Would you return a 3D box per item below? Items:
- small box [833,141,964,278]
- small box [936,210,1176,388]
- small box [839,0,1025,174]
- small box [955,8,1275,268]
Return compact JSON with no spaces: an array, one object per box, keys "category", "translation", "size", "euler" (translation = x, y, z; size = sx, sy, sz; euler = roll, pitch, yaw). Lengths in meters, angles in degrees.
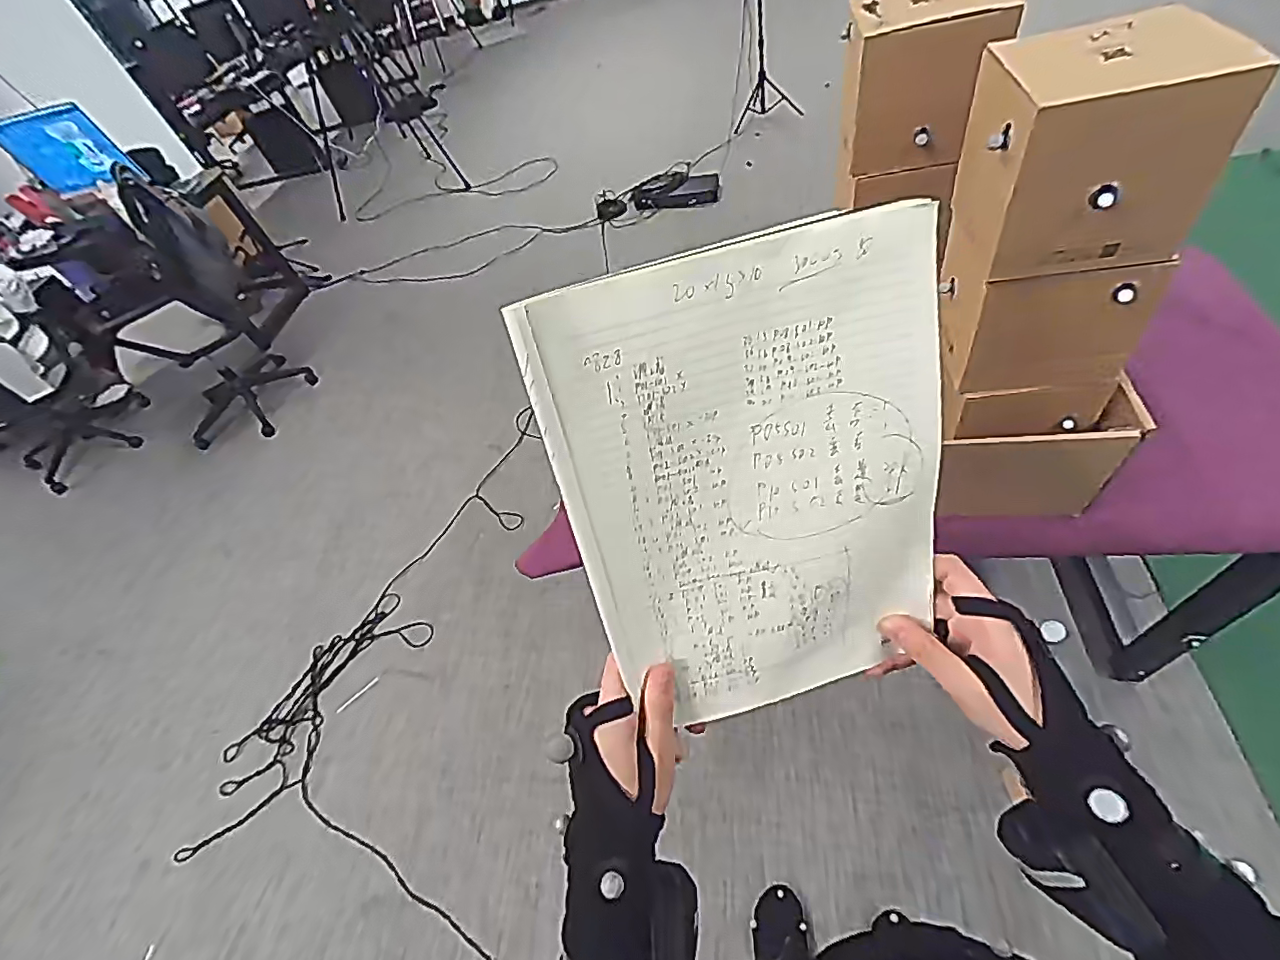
[{"category":"small box","translation":[0.416,-0.452,0.868],"size":[0.179,0.176,0.168],"euler":[-4,53,12]},{"category":"small box","translation":[0.484,-0.229,0.670],"size":[0.179,0.176,0.168],"euler":[-1,51,14]},{"category":"small box","translation":[0.380,-0.552,0.743],"size":[0.179,0.176,0.168],"euler":[-1,53,13]},{"category":"small box","translation":[0.442,-0.331,0.547],"size":[0.168,0.176,0.179],"euler":[-1,51,14]}]
